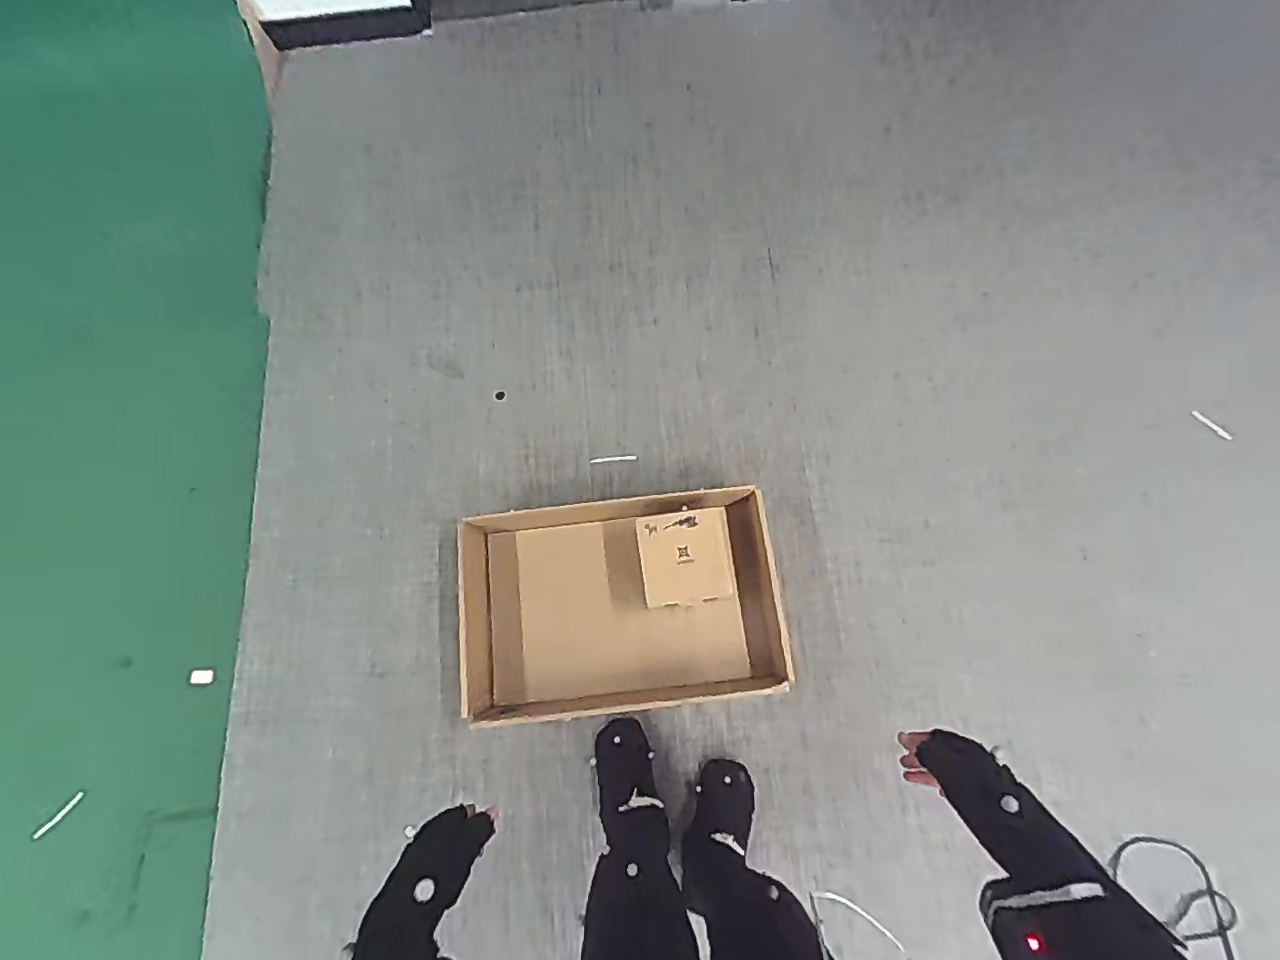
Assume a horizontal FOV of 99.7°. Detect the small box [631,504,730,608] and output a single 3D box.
[{"bbox_3d":[0.083,0.161,1.108,0.168,0.176,0.179,-11,75,1],"label":"small box"}]
